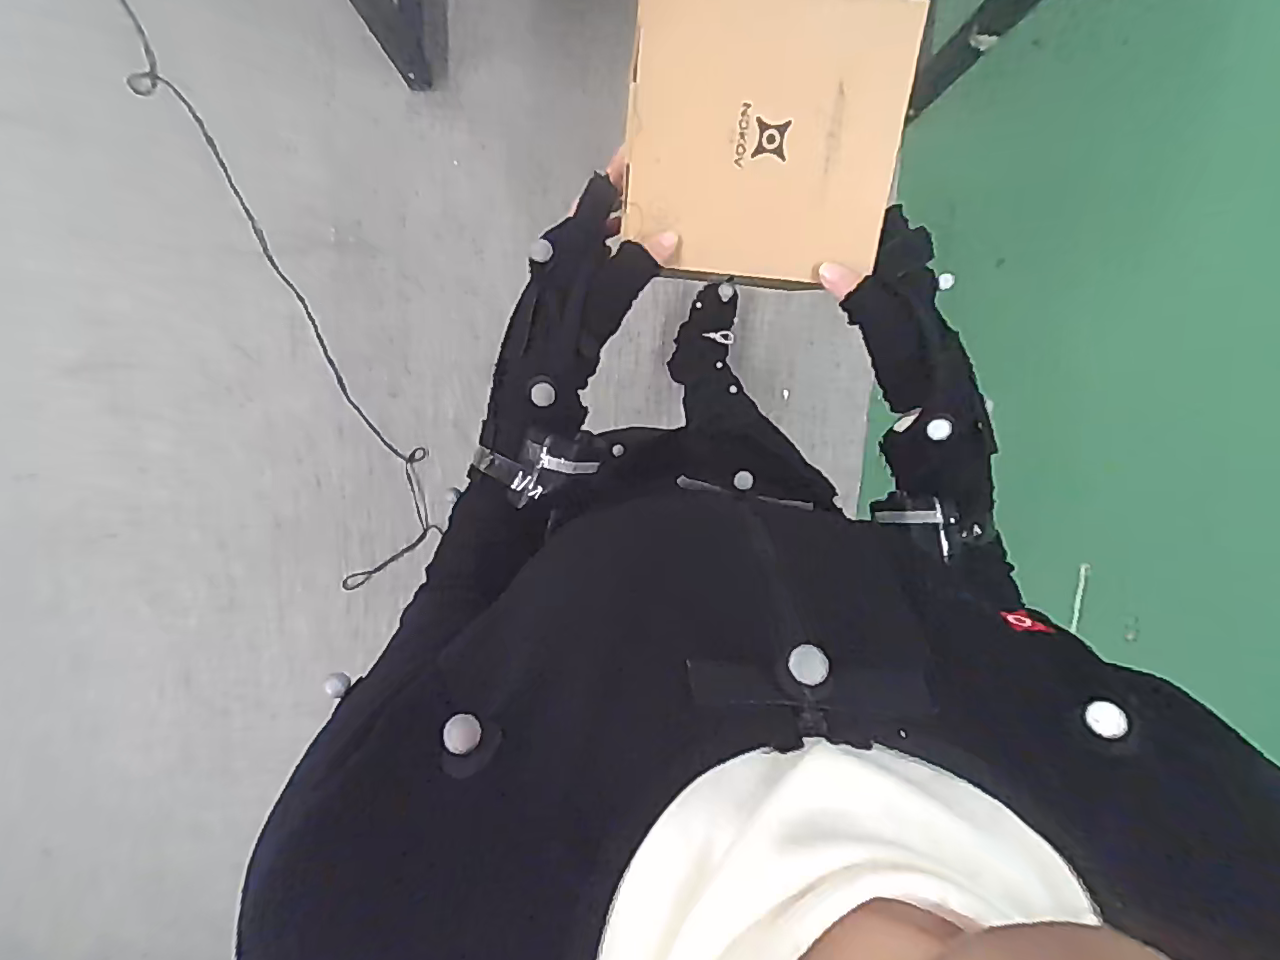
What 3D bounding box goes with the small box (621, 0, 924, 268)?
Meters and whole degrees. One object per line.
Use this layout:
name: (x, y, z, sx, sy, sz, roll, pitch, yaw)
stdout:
small box: (0.077, -0.258, 0.417, 0.179, 0.176, 0.168, 2, 111, -3)
